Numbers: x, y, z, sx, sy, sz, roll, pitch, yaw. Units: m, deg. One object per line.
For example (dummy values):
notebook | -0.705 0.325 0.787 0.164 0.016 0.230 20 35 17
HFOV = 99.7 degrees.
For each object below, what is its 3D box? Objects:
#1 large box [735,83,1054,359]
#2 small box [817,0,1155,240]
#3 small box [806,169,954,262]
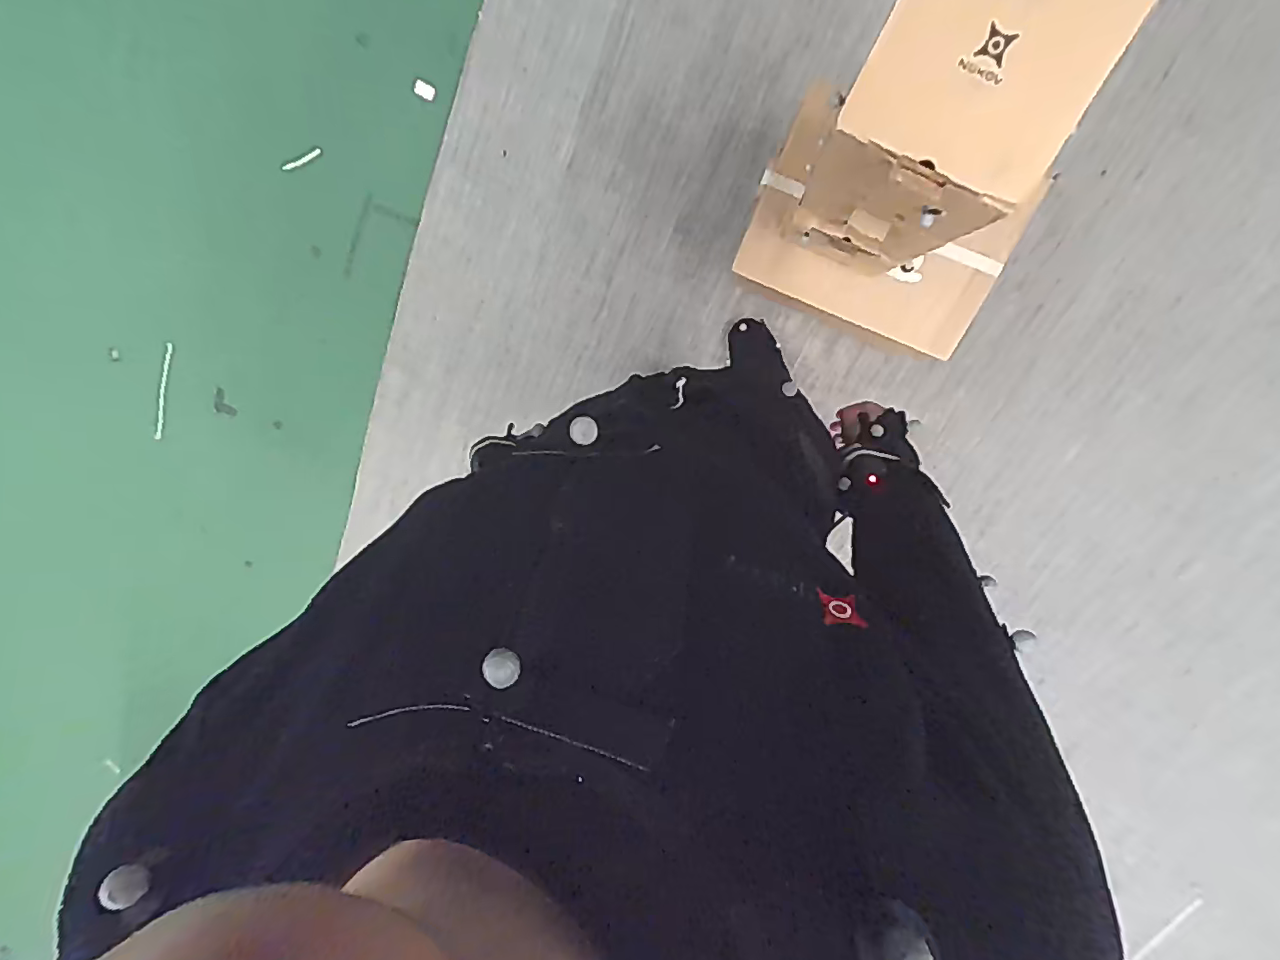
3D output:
large box | 0.421 -0.454 1.021 0.408 0.320 0.320 24 109 3
small box | 0.275 -0.338 0.481 0.168 0.176 0.179 27 108 1
small box | 0.312 -0.381 0.634 0.168 0.176 0.179 29 109 2
